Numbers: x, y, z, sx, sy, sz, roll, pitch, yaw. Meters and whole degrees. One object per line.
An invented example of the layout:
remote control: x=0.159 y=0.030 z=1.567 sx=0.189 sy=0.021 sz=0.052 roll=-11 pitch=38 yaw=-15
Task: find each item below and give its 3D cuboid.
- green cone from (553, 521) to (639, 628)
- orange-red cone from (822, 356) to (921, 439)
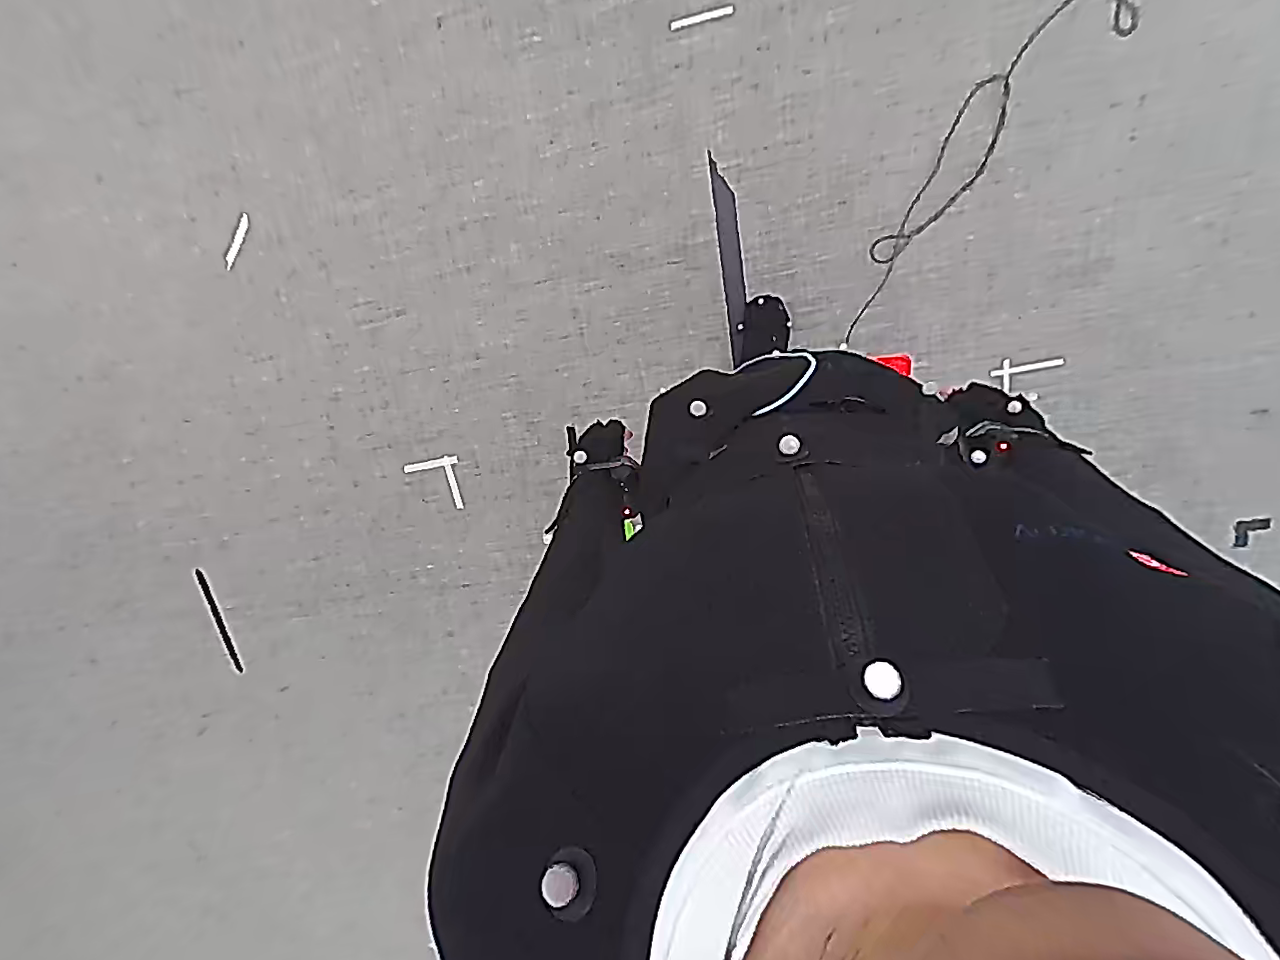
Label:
green cone: x=-0.141 y=0.262 z=1.379 sx=0.202 sy=0.368 sz=0.200 roll=-7 pitch=104 yaw=12
orange-red cone: x=0.527 y=-0.150 z=1.161 sx=0.199 sy=0.360 sz=0.198 roll=-3 pitch=106 yaw=9
